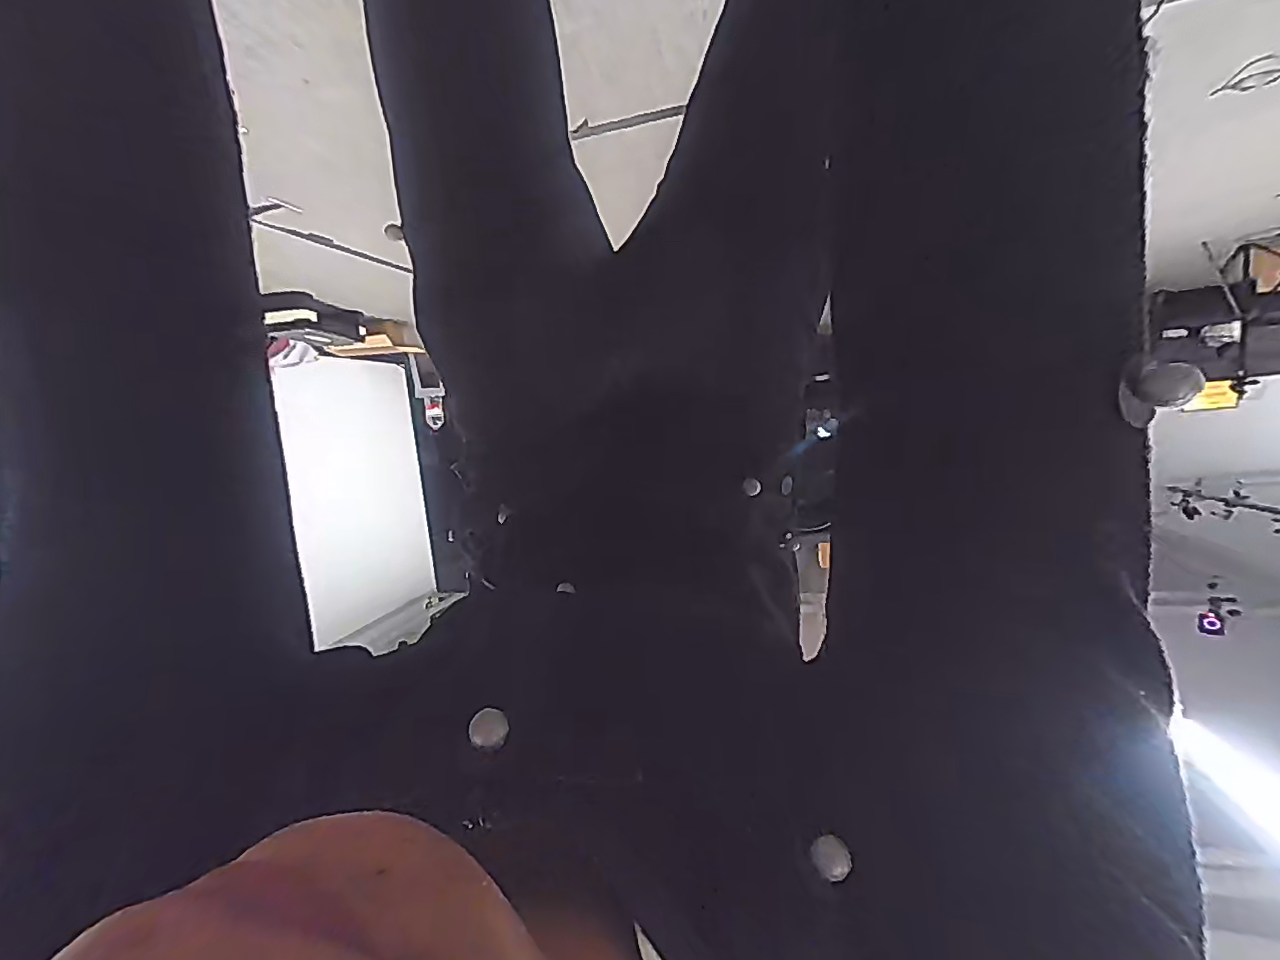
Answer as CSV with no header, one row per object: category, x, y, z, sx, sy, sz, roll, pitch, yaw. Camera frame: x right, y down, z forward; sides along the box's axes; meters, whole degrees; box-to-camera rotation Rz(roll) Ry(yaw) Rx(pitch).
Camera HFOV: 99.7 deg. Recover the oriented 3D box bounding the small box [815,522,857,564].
small box,0.949,0.301,2.628,0.179,0.176,0.168,-4,-173,15
